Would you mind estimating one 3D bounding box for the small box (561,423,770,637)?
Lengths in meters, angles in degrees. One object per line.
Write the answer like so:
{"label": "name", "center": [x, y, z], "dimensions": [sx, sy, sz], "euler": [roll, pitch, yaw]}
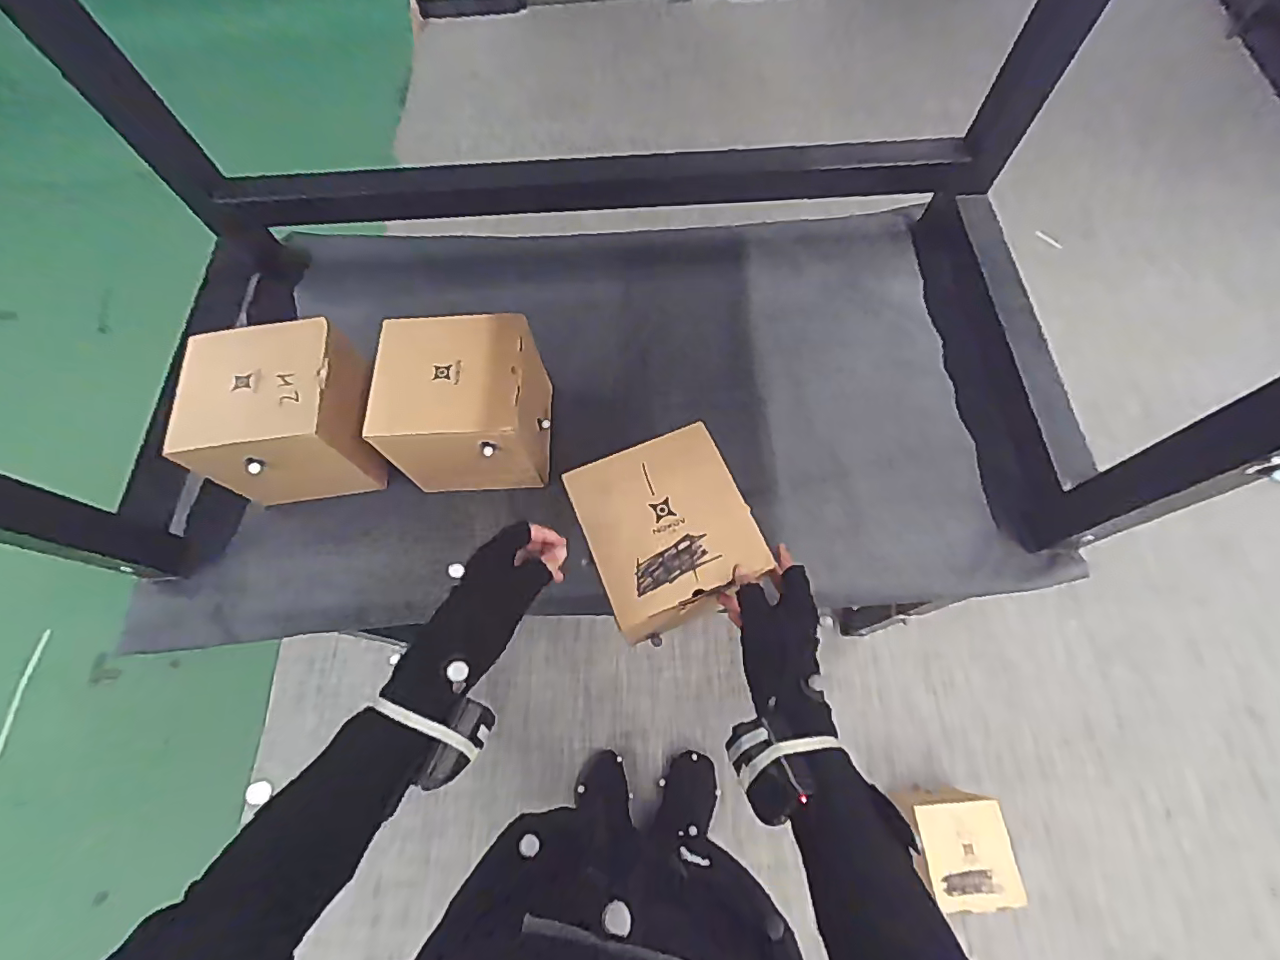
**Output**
{"label": "small box", "center": [0.026, 0.069, 0.618], "dimensions": [0.168, 0.176, 0.179], "euler": [-21, 68, -6]}
